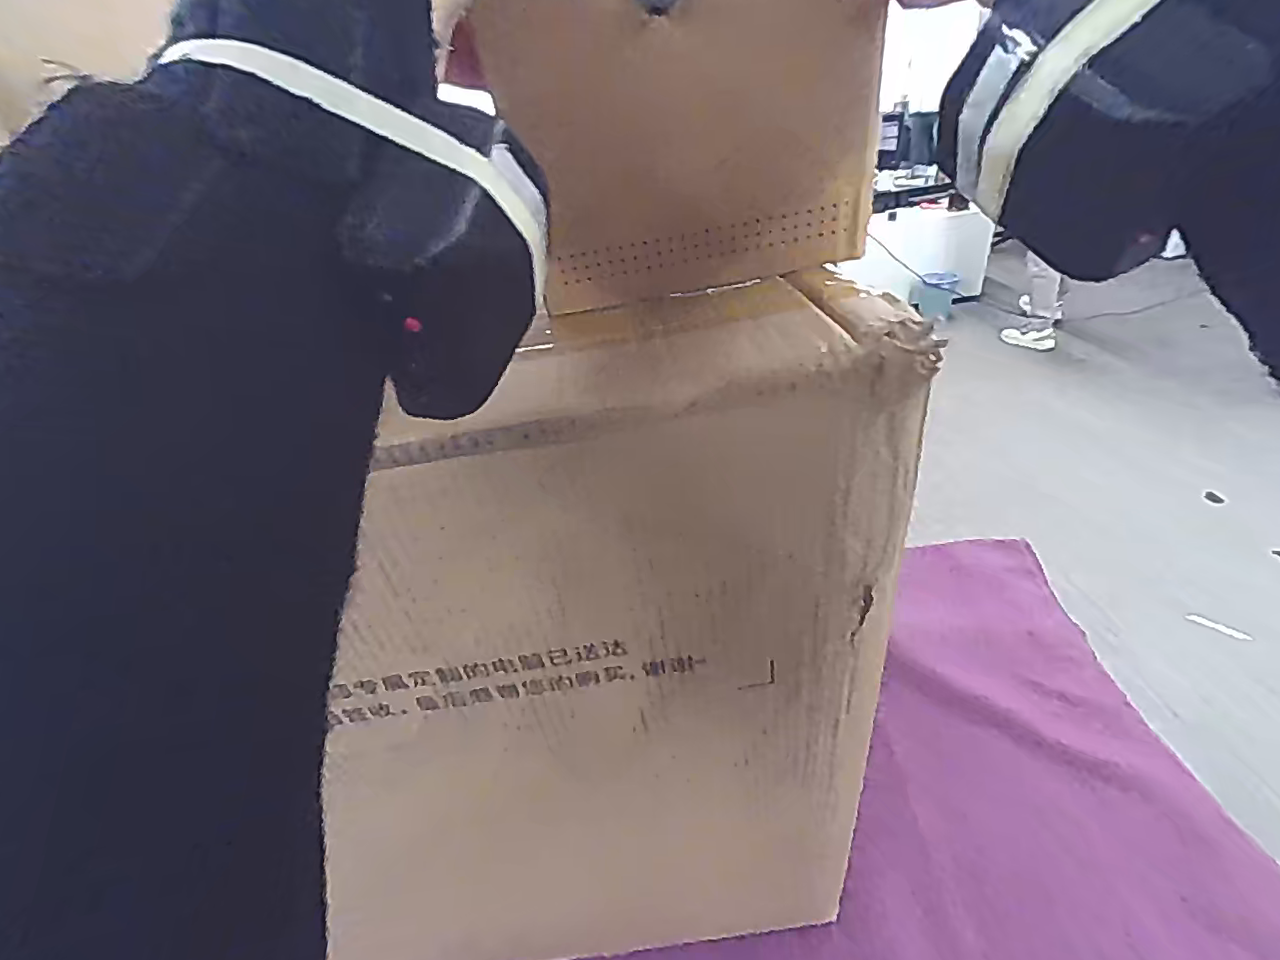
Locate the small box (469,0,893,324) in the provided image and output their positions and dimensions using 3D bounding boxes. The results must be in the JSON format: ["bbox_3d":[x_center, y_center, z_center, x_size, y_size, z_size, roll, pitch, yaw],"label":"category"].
[{"bbox_3d":[0.023,-0.209,0.306,0.179,0.176,0.168,-10,39,4],"label":"small box"}]
